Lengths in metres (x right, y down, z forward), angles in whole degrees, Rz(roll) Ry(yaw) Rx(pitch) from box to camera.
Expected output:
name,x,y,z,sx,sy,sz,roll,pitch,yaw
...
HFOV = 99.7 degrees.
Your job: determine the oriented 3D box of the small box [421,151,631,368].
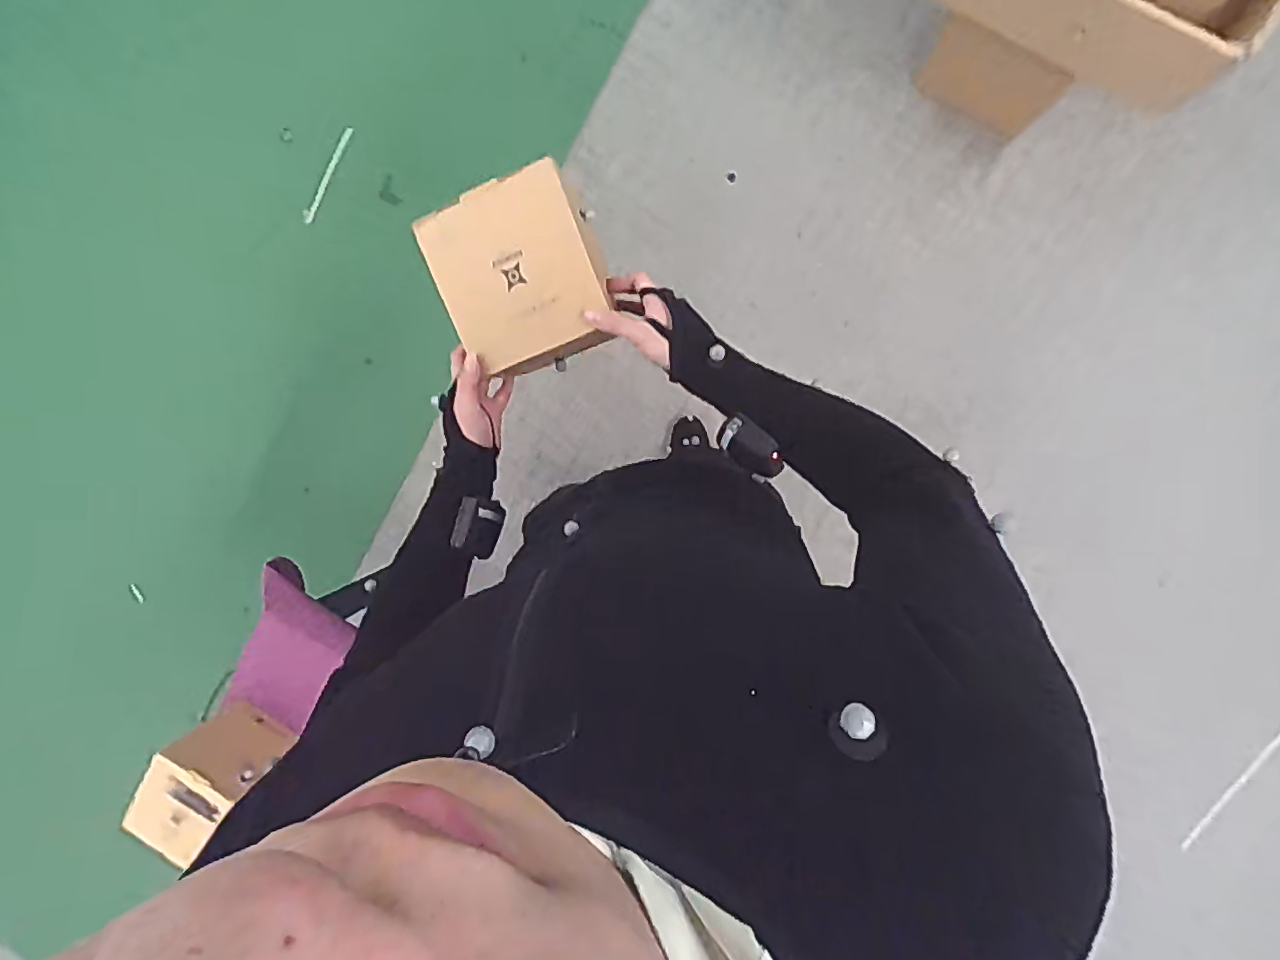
name,x,y,z,sx,sy,sz,roll,pitch,yaw
small box,-0.119,-0.240,0.639,0.168,0.176,0.179,-18,100,9
